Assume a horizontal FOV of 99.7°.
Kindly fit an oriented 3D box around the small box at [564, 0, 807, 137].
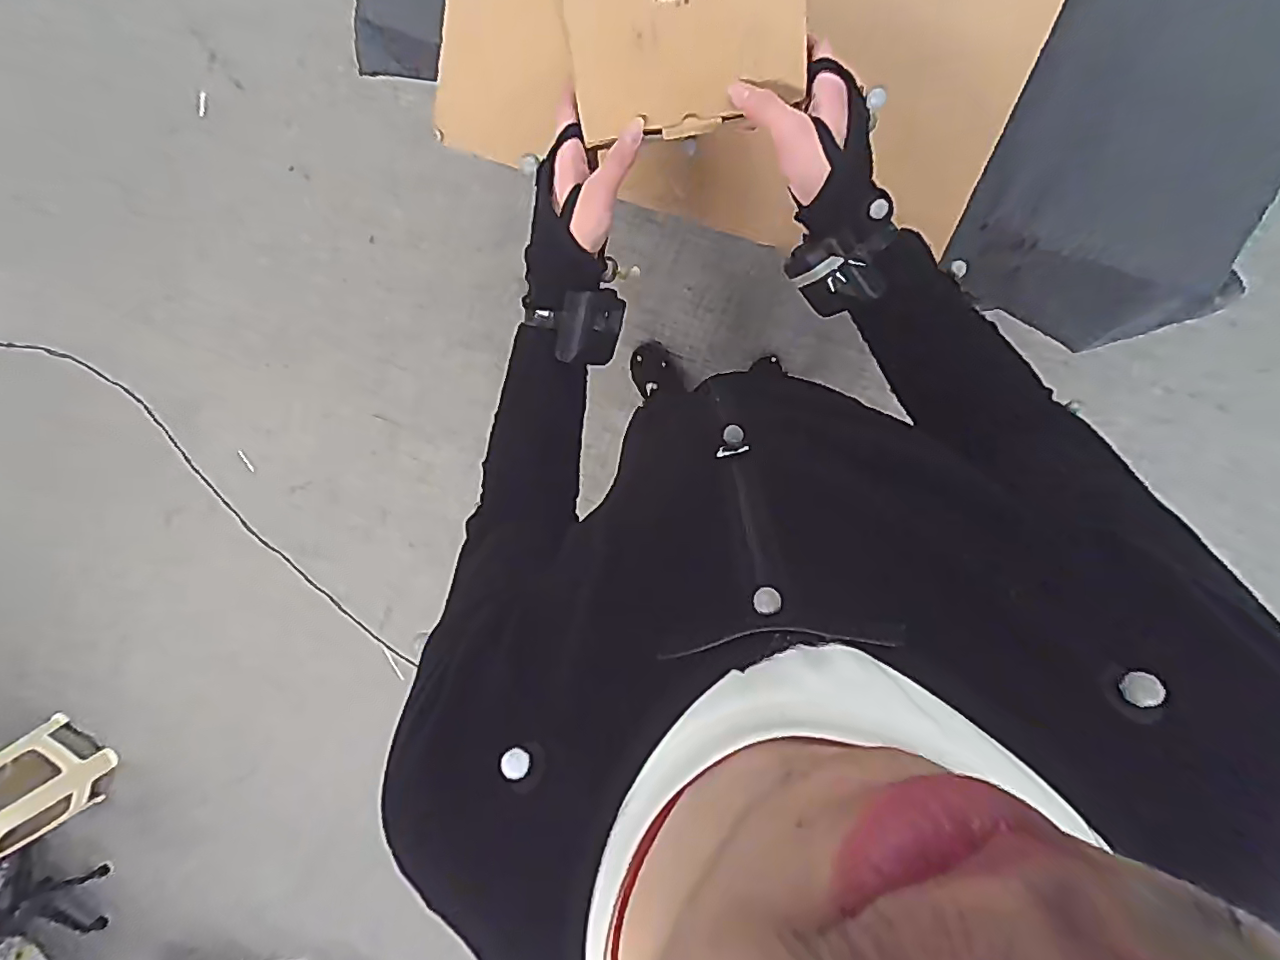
[{"bbox_3d":[0.034,-0.388,0.427,0.168,0.176,0.179,-7,119,10],"label":"small box"}]
